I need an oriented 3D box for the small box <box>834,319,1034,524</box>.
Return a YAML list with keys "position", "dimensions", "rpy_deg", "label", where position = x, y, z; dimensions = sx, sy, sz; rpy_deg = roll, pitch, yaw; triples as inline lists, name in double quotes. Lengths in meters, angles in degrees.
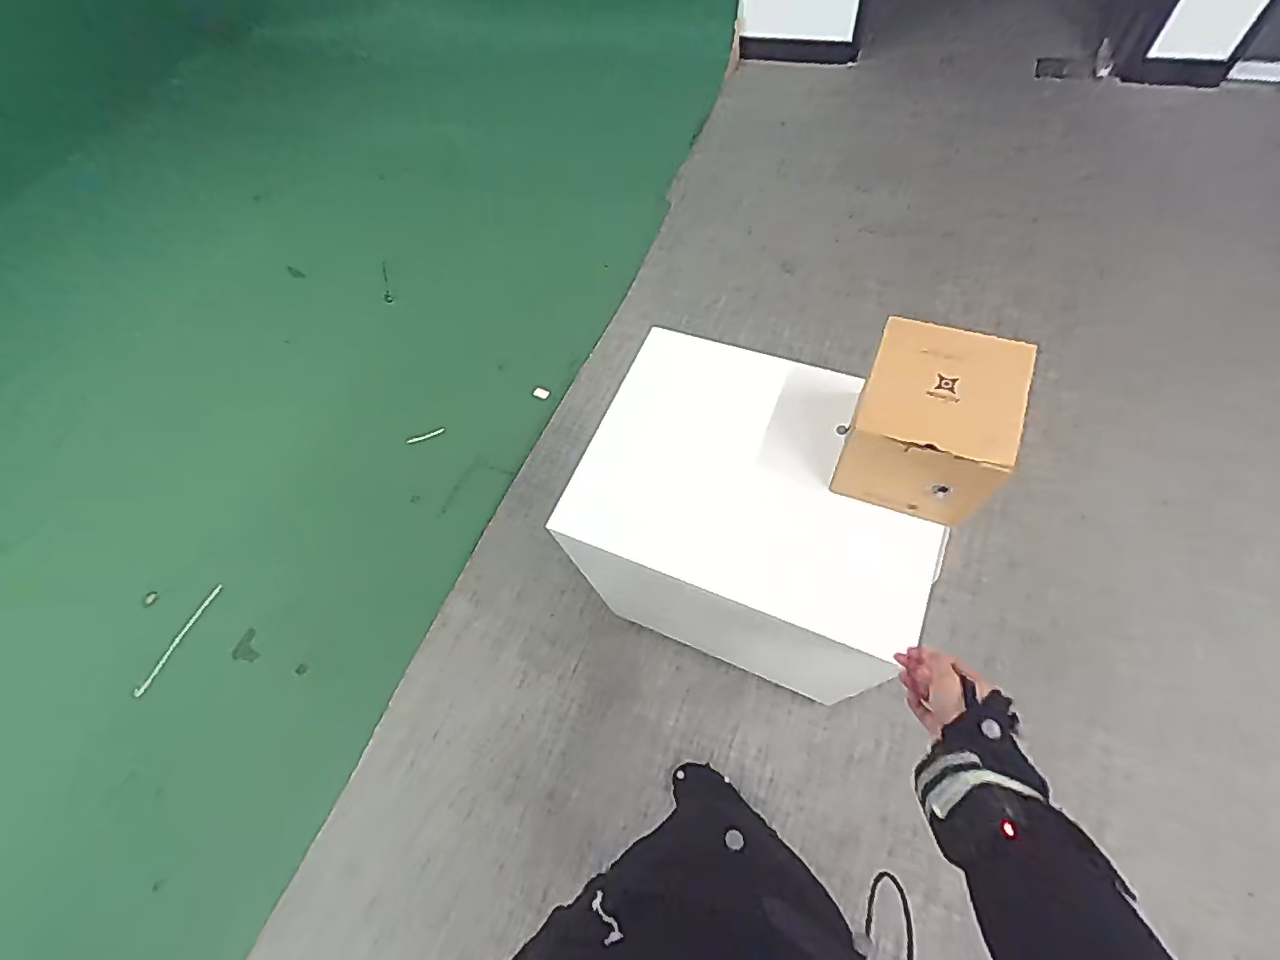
- position: [0.357, -0.067, 0.684]
  dimensions: [0.168, 0.176, 0.179]
  rpy_deg: [18, 67, 17]
  label: "small box"
